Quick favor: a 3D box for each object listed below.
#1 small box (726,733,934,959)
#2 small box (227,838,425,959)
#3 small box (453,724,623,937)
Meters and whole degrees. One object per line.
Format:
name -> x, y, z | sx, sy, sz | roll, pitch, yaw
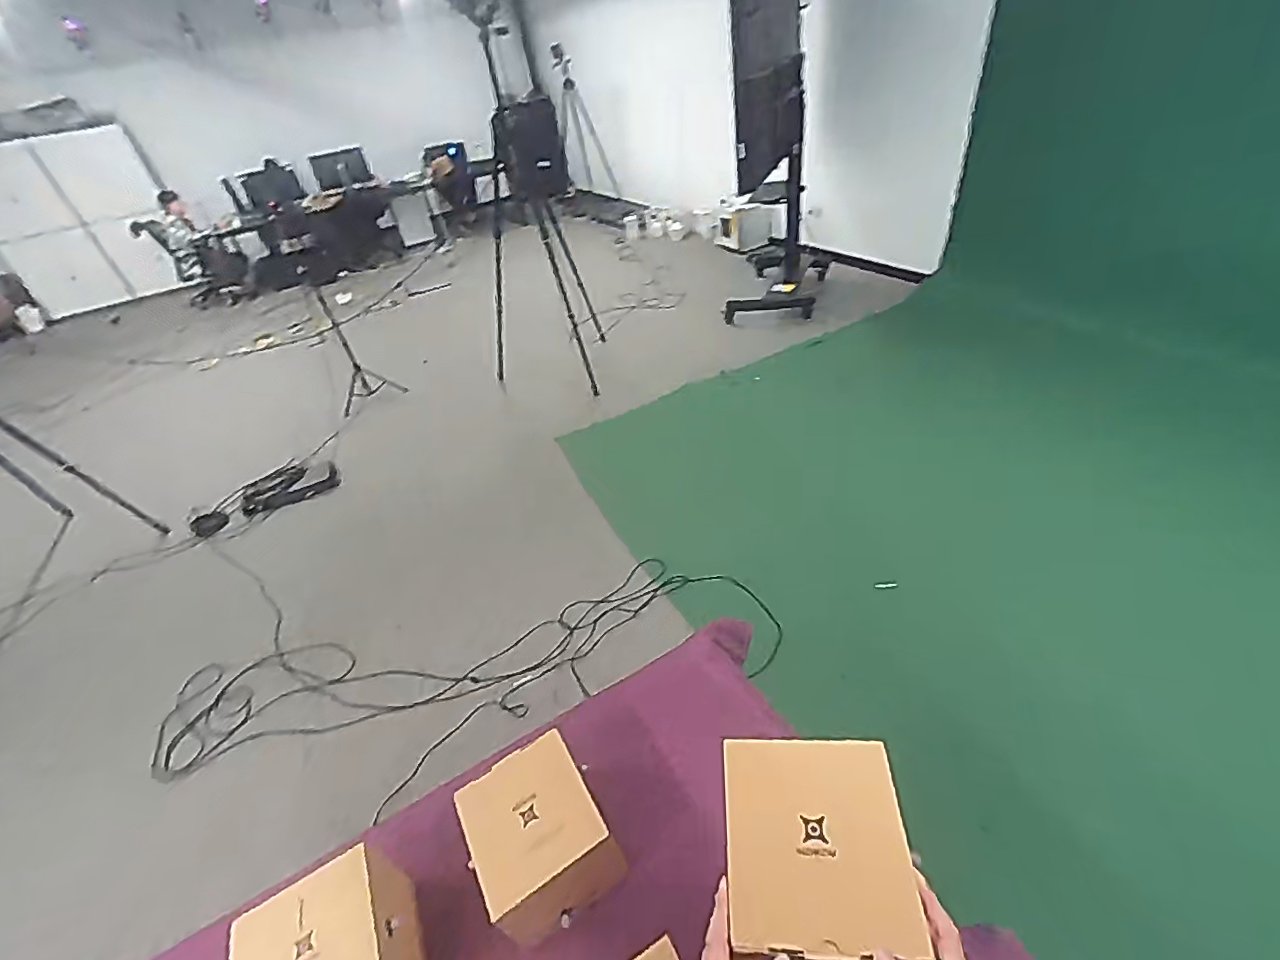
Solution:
small box -> 0.175, 0.387, 0.559 | 0.168, 0.176, 0.179 | -3, 43, 9
small box -> -0.390, 0.615, 0.690 | 0.168, 0.176, 0.179 | -25, 40, -19
small box -> -0.143, 0.502, 0.780 | 0.168, 0.176, 0.179 | -27, 43, -19
